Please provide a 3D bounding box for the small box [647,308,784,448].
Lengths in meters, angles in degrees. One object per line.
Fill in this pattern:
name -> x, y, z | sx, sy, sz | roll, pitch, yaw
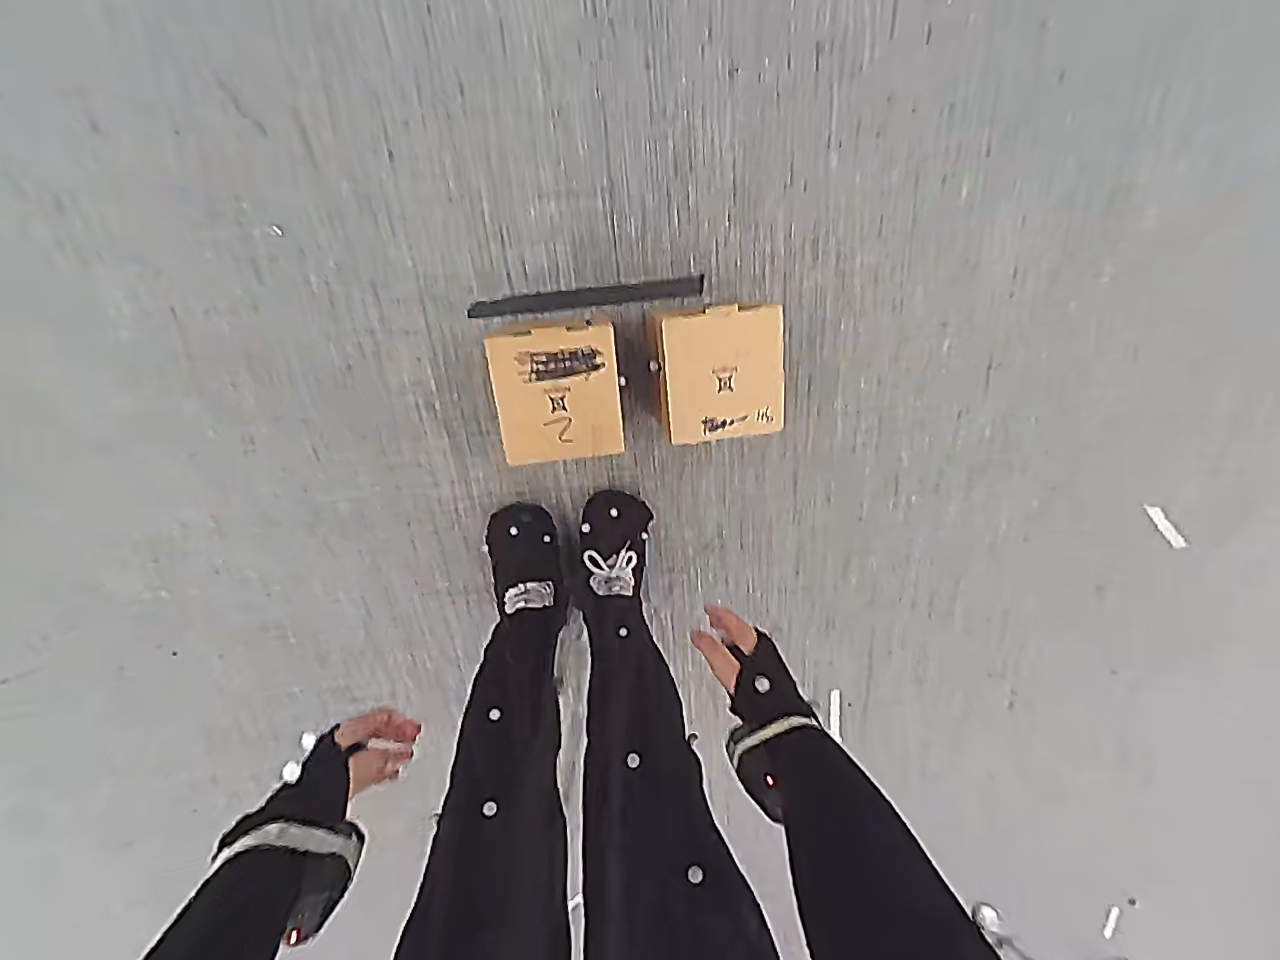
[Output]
small box -> 0.107, -0.161, 0.815 | 0.168, 0.176, 0.179 | -8, 110, -5
